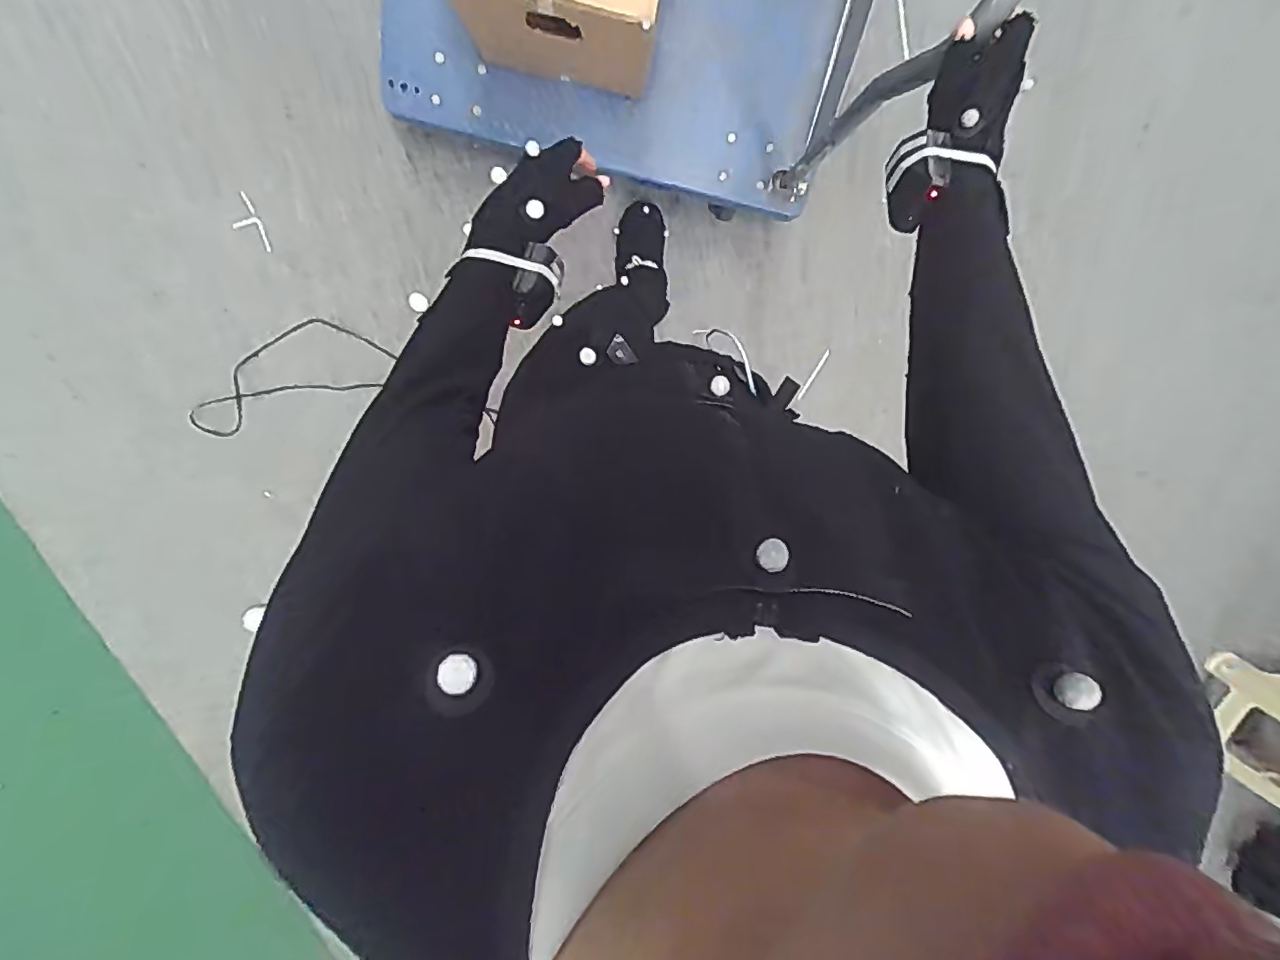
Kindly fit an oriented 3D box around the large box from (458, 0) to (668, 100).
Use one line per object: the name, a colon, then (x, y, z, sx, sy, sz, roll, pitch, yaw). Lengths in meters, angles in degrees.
large box: (-0.096, -0.903, 0.849, 0.320, 0.320, 0.408, 8, 109, -4)
